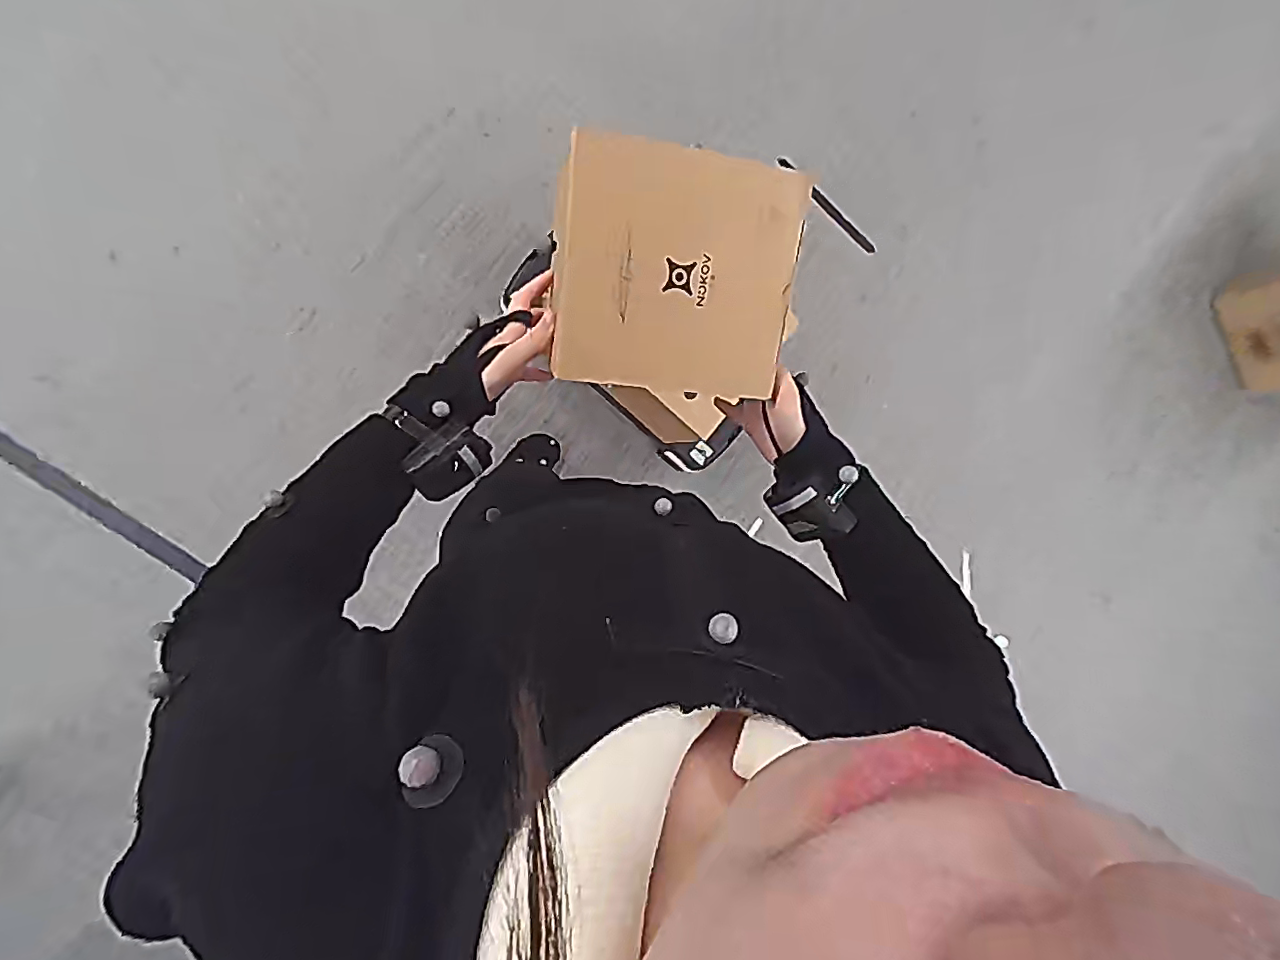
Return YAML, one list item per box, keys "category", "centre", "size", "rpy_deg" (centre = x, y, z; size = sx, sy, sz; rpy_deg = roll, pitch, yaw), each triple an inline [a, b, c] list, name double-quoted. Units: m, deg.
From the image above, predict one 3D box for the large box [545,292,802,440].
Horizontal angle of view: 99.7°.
- category: "large box"
  centre: [0.049, -0.325, 1.154]
  size: [0.408, 0.320, 0.320]
  rpy_deg: [40, 84, -10]

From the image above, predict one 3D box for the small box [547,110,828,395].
- category: "small box"
  centre: [0.020, -0.173, 0.449]
  size: [0.179, 0.176, 0.168]
  rpy_deg: [3, 108, -13]

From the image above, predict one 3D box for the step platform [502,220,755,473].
- category: "step platform"
  centre: [-0.024, -0.337, 1.382]
  size: [0.286, 0.204, 0.684]
  rpy_deg: [-45, 100, -6]
